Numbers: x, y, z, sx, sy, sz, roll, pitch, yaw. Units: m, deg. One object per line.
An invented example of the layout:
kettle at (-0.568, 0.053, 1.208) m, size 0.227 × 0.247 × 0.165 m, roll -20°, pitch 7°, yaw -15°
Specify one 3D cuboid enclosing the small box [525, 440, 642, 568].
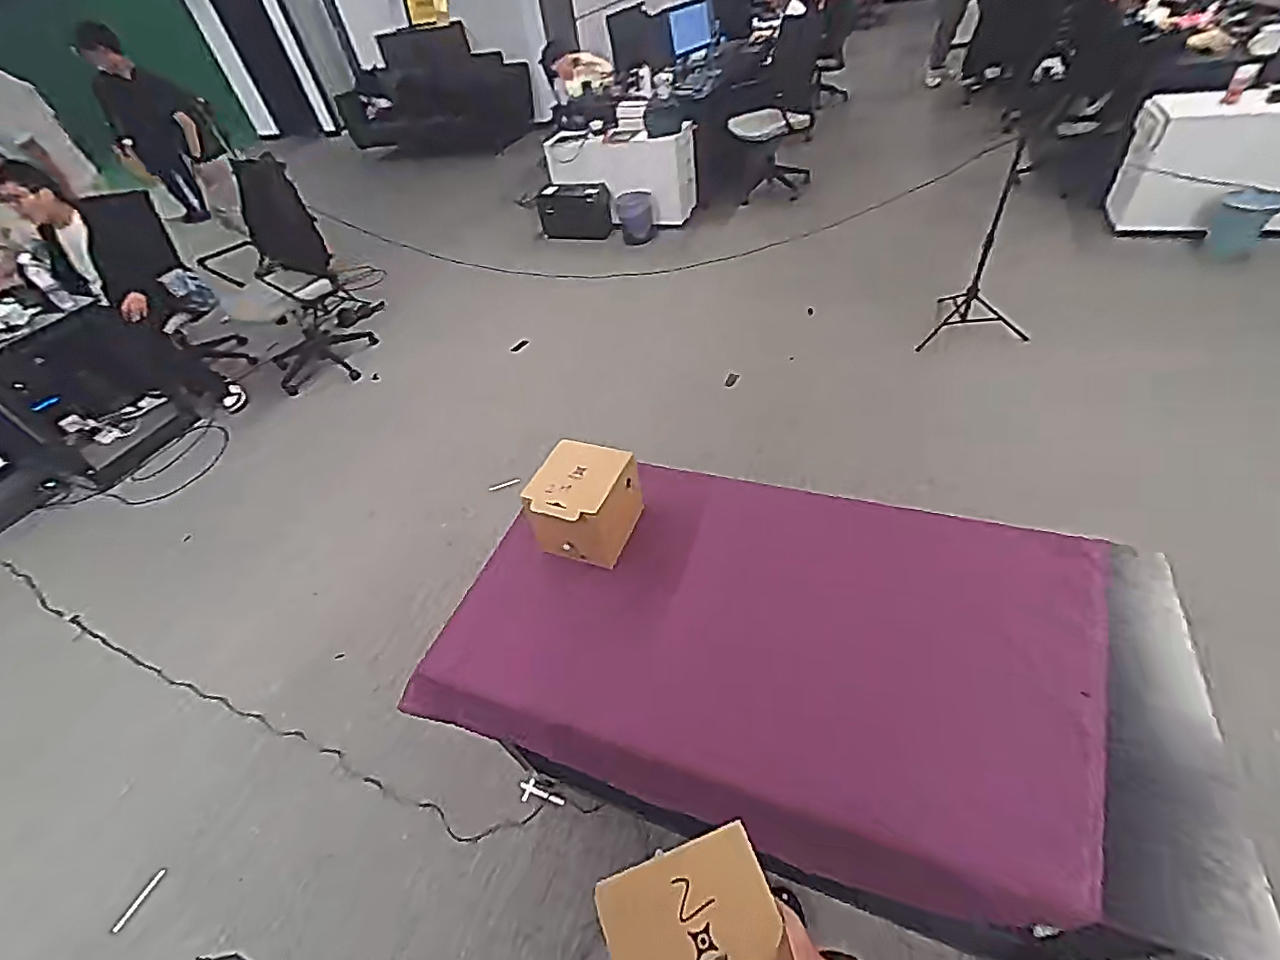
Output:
small box at (-0.103, 0.048, 1.099) m, size 0.168 × 0.176 × 0.179 m, roll 12°, pitch 50°, yaw 21°
